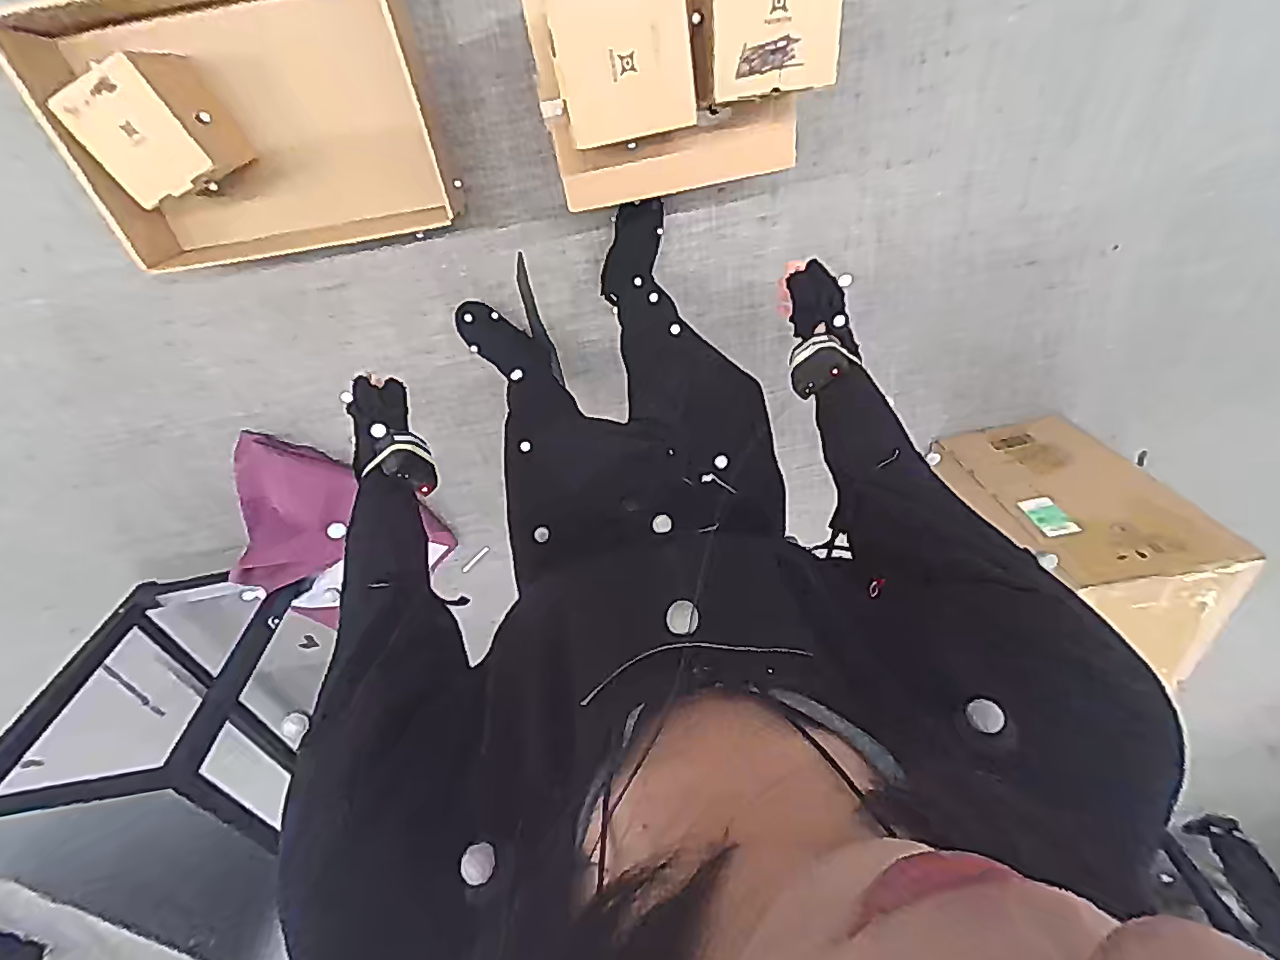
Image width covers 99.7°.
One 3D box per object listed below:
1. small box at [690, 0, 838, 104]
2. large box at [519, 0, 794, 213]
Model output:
[{"bbox_3d":[0.163,-0.636,0.748,0.168,0.176,0.179,-8,124,-1],"label":"small box"},{"bbox_3d":[0.028,-0.715,0.976,0.408,0.320,0.320,-12,126,1],"label":"large box"}]
